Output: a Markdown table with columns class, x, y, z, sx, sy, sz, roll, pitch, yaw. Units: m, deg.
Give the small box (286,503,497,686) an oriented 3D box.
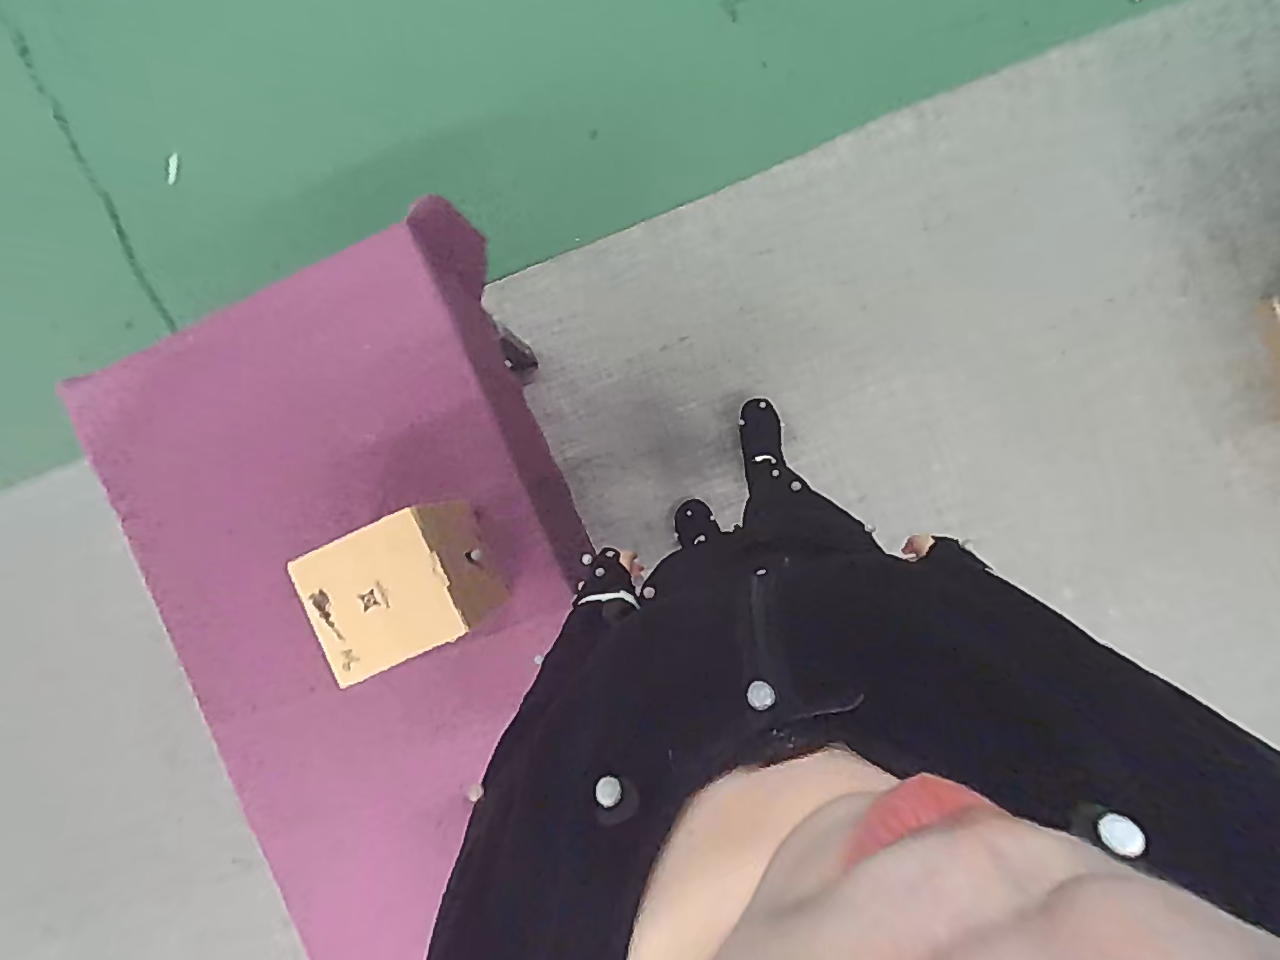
| class | x | y | z | sx | sy | sz | roll | pitch | yaw |
| --- | --- | --- | --- | --- | --- | --- | --- | --- | --- |
| small box | -0.309 | 0.137 | 0.719 | 0.179 | 0.176 | 0.168 | -24 | 89 | 3 |
